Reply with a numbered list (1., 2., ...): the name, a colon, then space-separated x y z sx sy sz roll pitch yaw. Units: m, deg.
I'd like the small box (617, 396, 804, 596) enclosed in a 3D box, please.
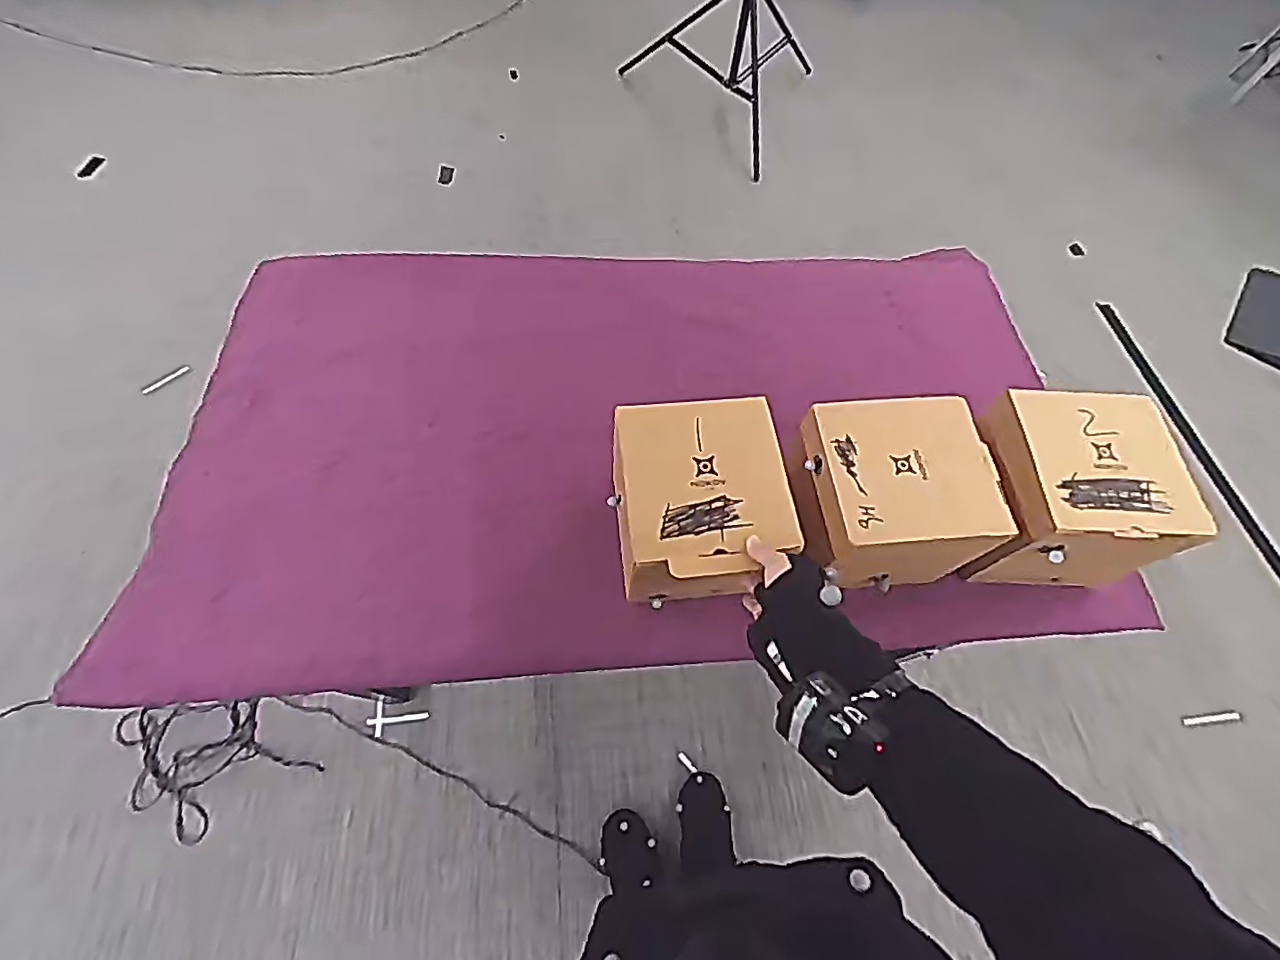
1. small box: 0.063 0.028 0.609 0.168 0.176 0.179 -5 65 -6
